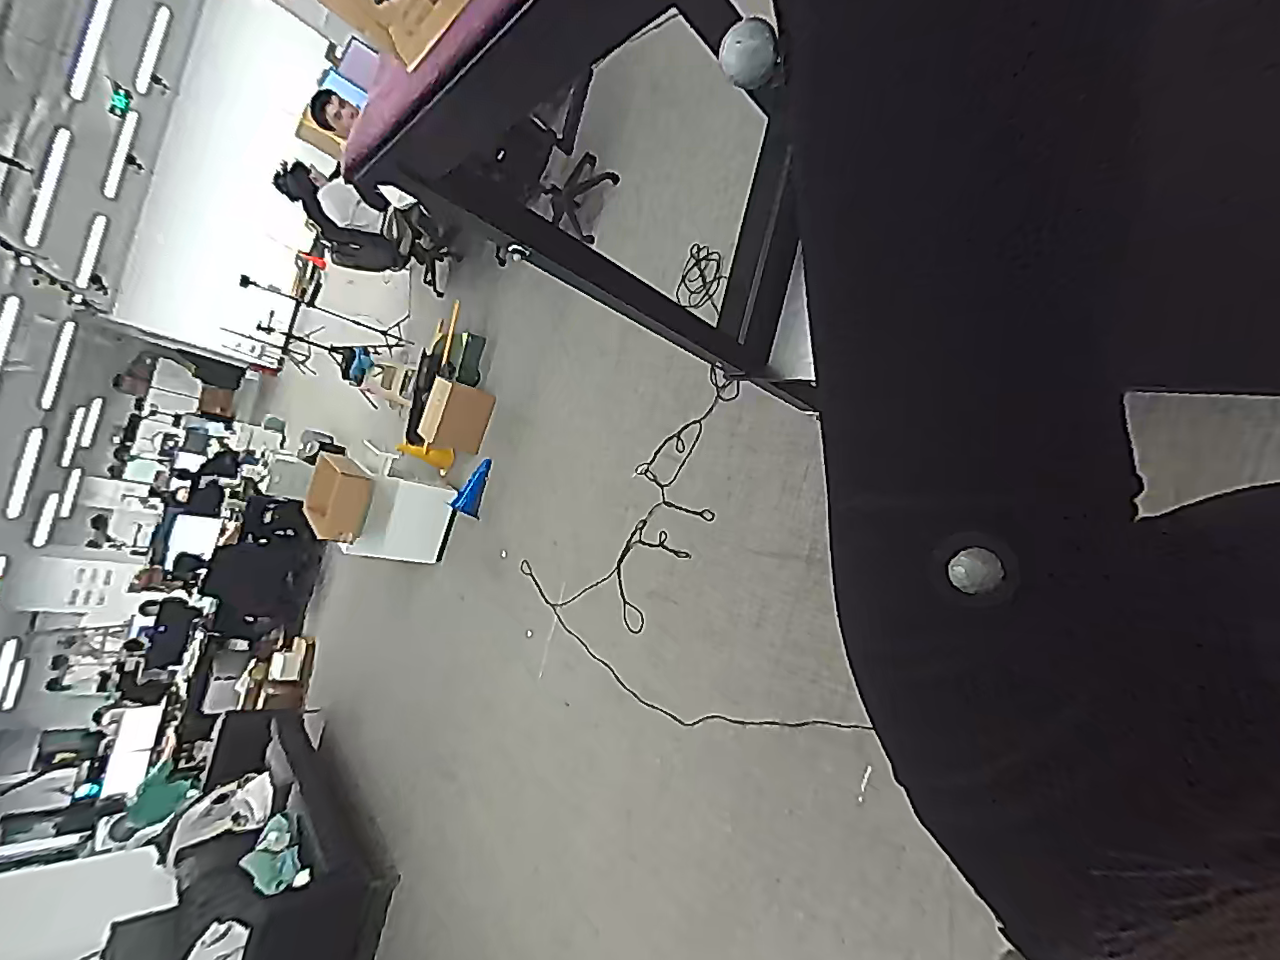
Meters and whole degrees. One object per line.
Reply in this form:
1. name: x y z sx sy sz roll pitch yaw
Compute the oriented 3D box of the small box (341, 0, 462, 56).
1. small box: -0.200 -0.491 0.412 0.168 0.176 0.179 8 82 47
